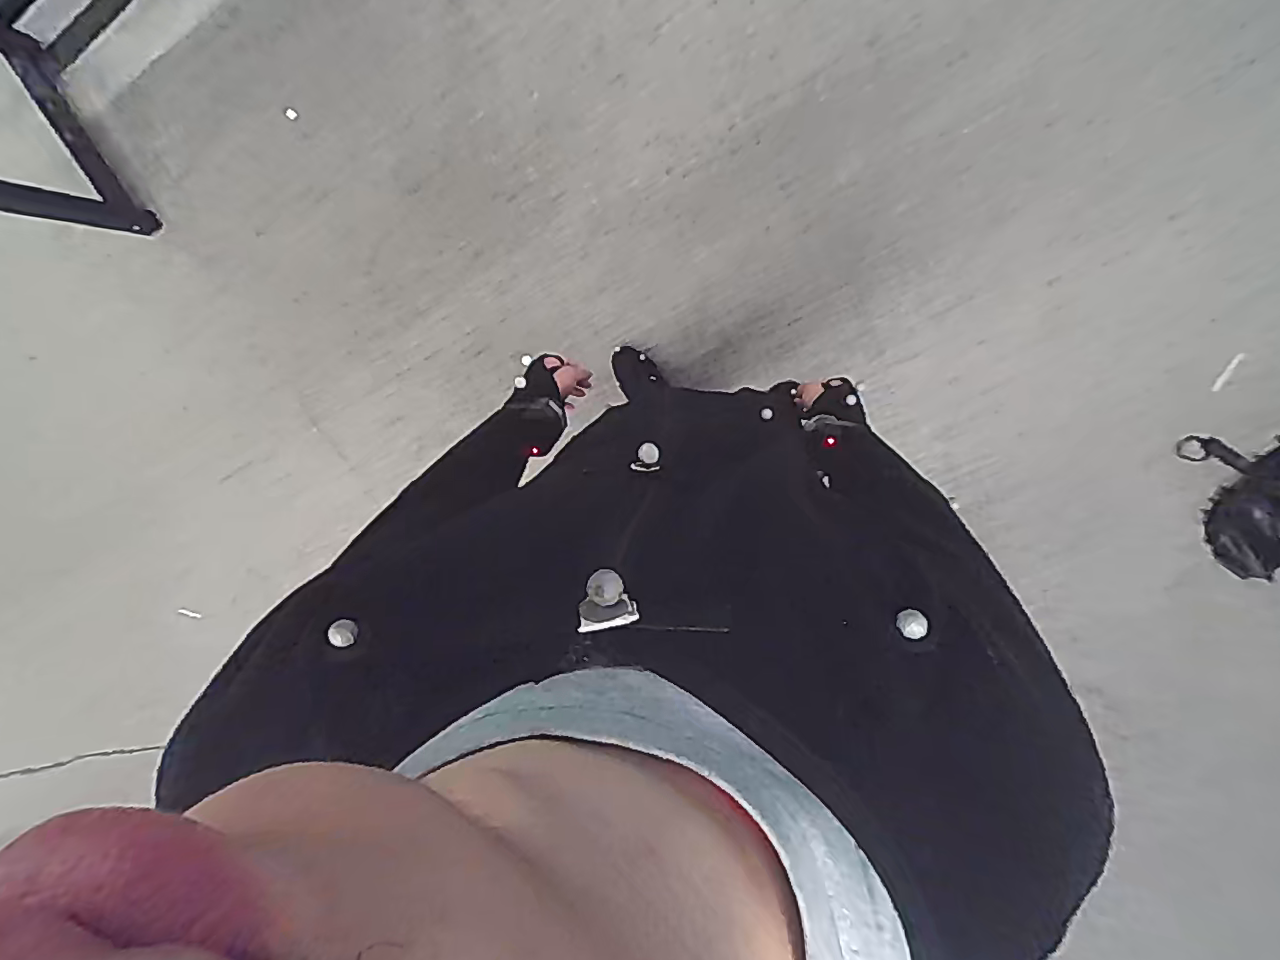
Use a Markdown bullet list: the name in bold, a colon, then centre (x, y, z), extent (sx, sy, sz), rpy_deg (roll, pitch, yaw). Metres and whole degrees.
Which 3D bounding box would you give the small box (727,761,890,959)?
- **small box**: centre (0.248, 0.579, 0.830), extent (0.168, 0.176, 0.179), rpy_deg (-31, 98, 15)
